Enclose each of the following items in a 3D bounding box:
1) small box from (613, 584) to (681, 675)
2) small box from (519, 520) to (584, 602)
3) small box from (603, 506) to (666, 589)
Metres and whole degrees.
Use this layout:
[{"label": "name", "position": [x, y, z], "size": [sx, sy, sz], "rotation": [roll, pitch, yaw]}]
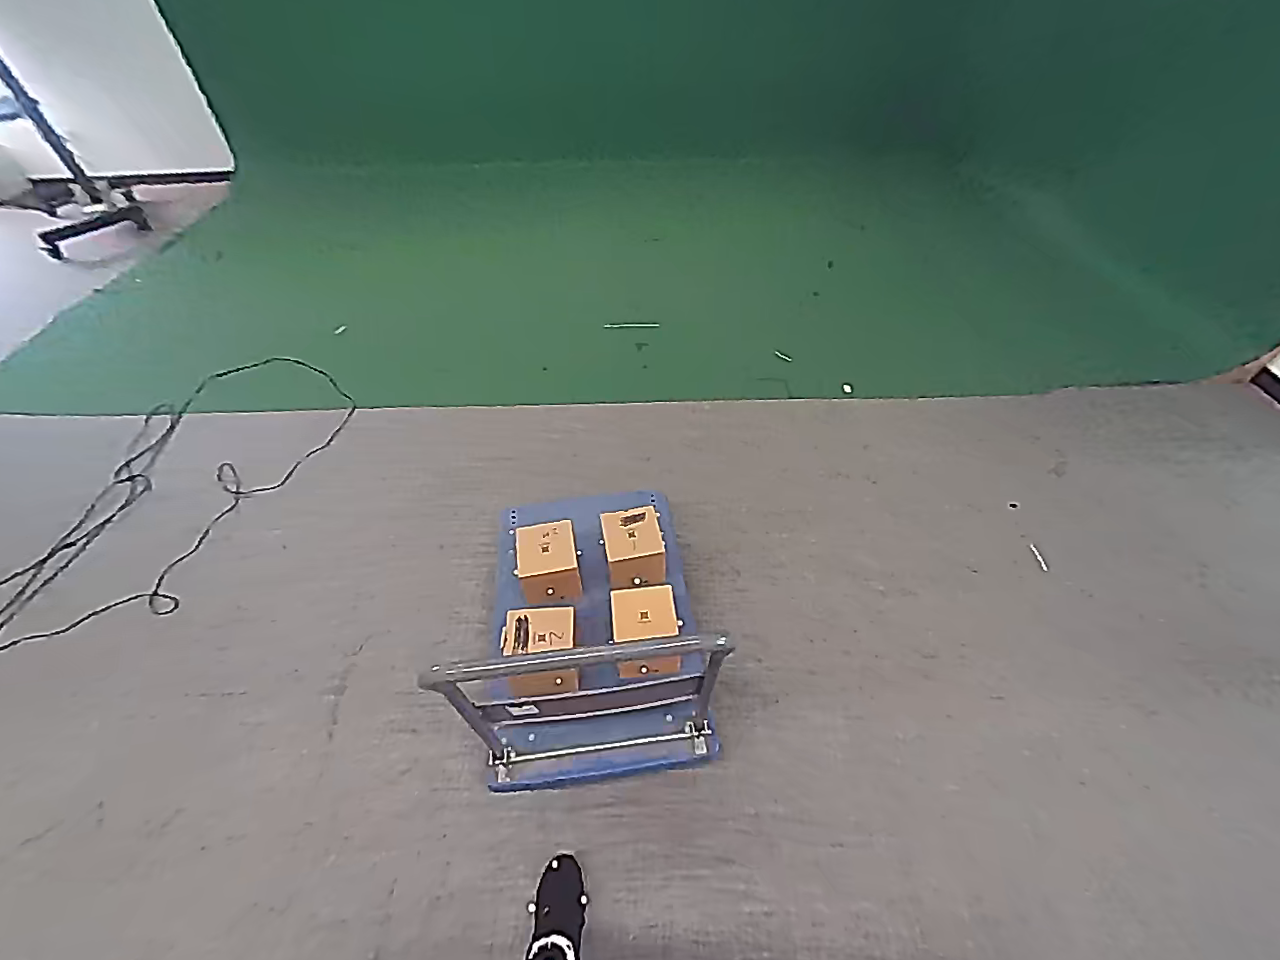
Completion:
[{"label": "small box", "position": [0.016, 0.409, 1.473], "size": [0.168, 0.176, 0.179], "rotation": [-6, 49, -3]}, {"label": "small box", "position": [-0.266, 0.250, 1.624], "size": [0.168, 0.176, 0.179], "rotation": [-9, 48, -7]}, {"label": "small box", "position": [-0.019, 0.208, 1.651], "size": [0.168, 0.176, 0.179], "rotation": [-10, 50, -5]}]
